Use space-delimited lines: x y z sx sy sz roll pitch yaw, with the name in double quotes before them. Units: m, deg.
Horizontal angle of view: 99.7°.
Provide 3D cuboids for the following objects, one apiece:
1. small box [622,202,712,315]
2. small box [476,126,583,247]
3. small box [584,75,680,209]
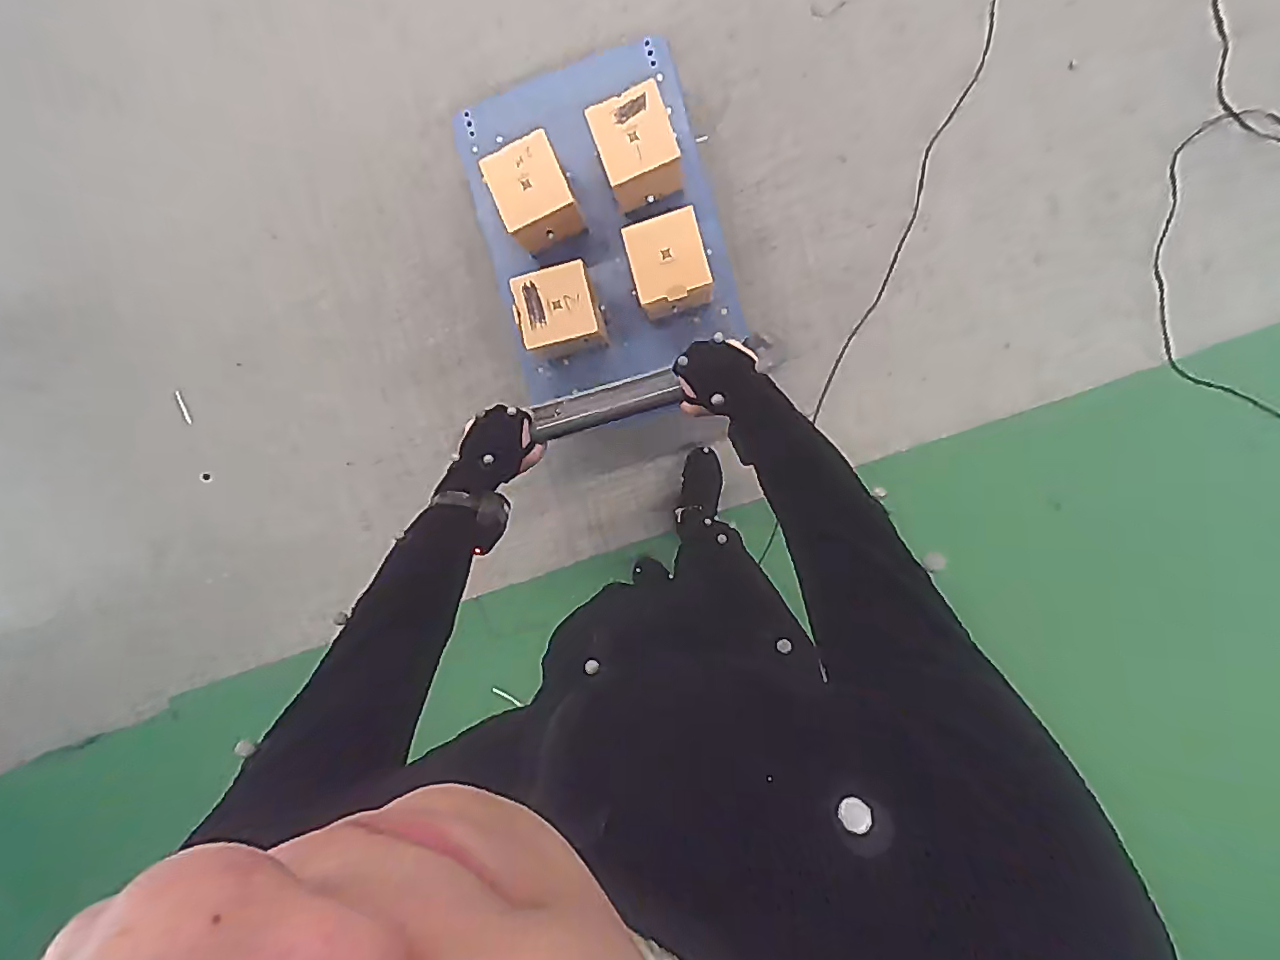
"small box" 0.064 -0.507 1.264 0.168 0.176 0.179 -16 95 7
"small box" -0.250 -0.676 1.276 0.168 0.176 0.179 -23 93 7
"small box" -0.012 -0.764 1.243 0.168 0.176 0.179 -20 94 8
